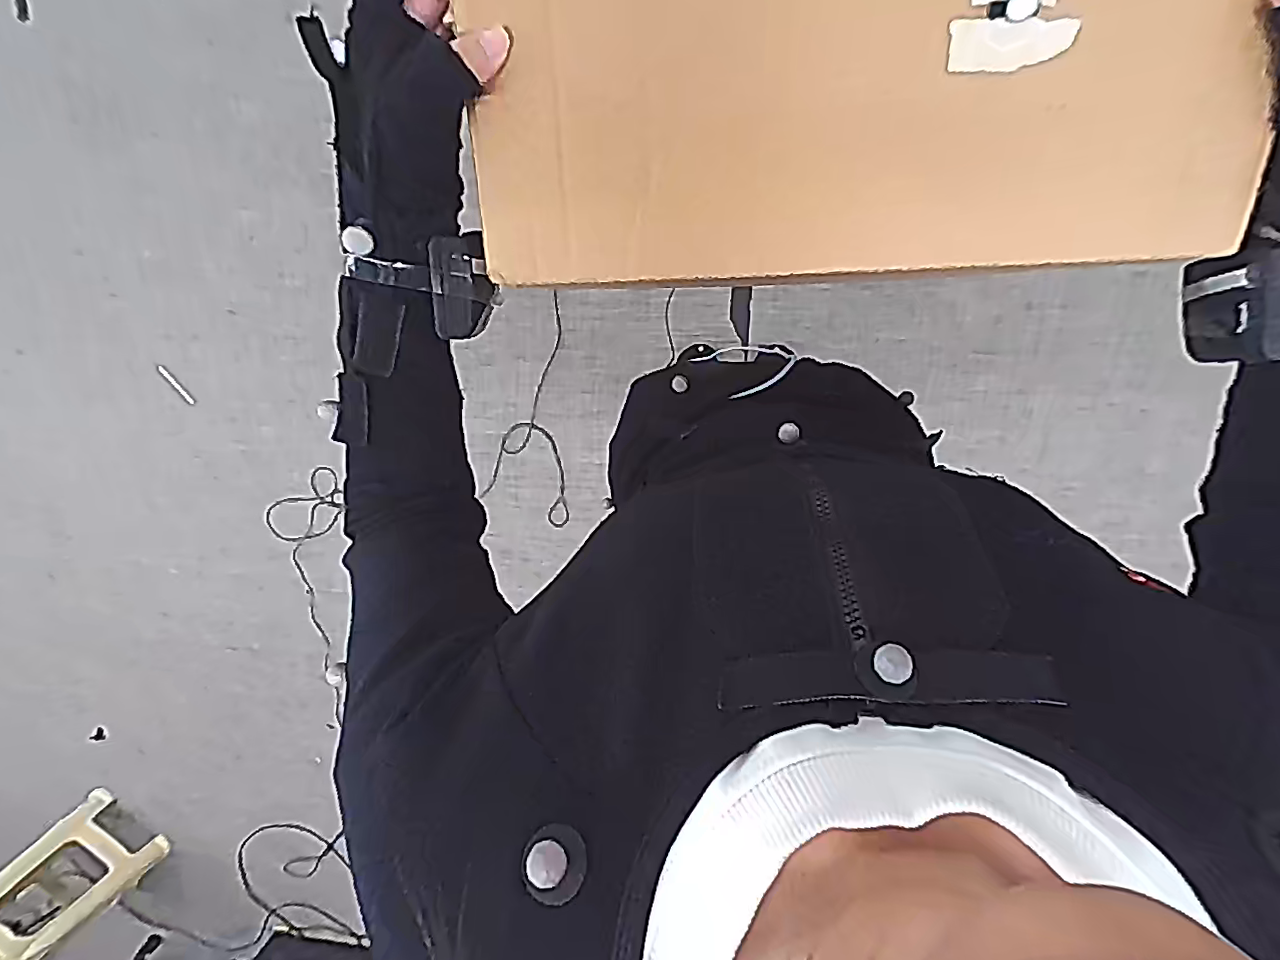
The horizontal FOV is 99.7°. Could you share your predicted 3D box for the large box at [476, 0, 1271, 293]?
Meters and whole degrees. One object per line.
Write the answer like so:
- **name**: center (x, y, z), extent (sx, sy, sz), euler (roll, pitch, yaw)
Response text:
- **large box**: center (0.114, -0.317, 0.406), extent (0.408, 0.320, 0.320), euler (-2, 109, 3)
